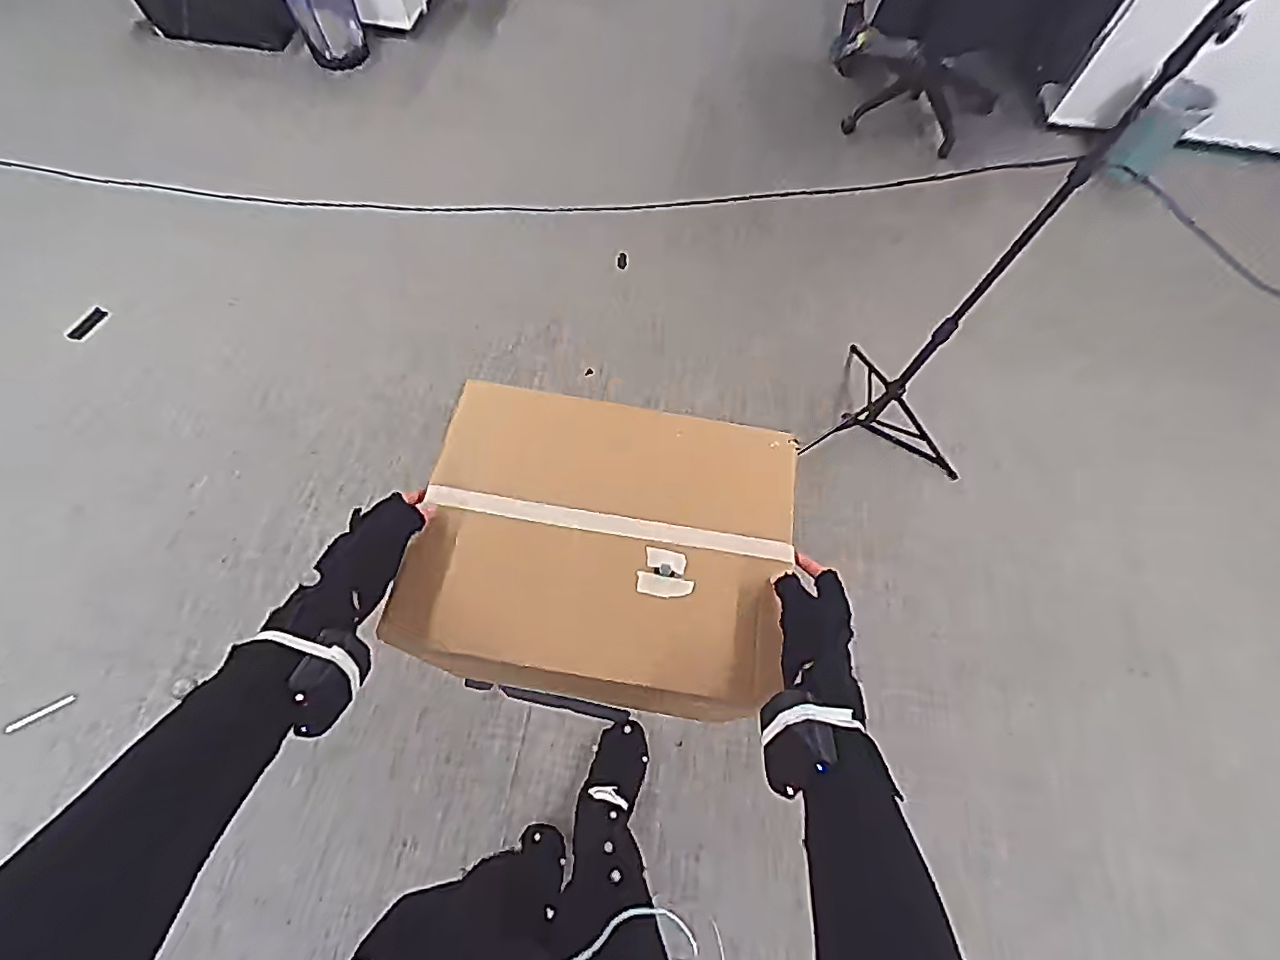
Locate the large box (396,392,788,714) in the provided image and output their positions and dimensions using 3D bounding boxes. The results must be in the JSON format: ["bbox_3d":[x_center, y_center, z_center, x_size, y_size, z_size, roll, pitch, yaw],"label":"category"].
[{"bbox_3d":[-0.044,0.119,0.740,0.408,0.320,0.320,10,64,0],"label":"large box"}]
